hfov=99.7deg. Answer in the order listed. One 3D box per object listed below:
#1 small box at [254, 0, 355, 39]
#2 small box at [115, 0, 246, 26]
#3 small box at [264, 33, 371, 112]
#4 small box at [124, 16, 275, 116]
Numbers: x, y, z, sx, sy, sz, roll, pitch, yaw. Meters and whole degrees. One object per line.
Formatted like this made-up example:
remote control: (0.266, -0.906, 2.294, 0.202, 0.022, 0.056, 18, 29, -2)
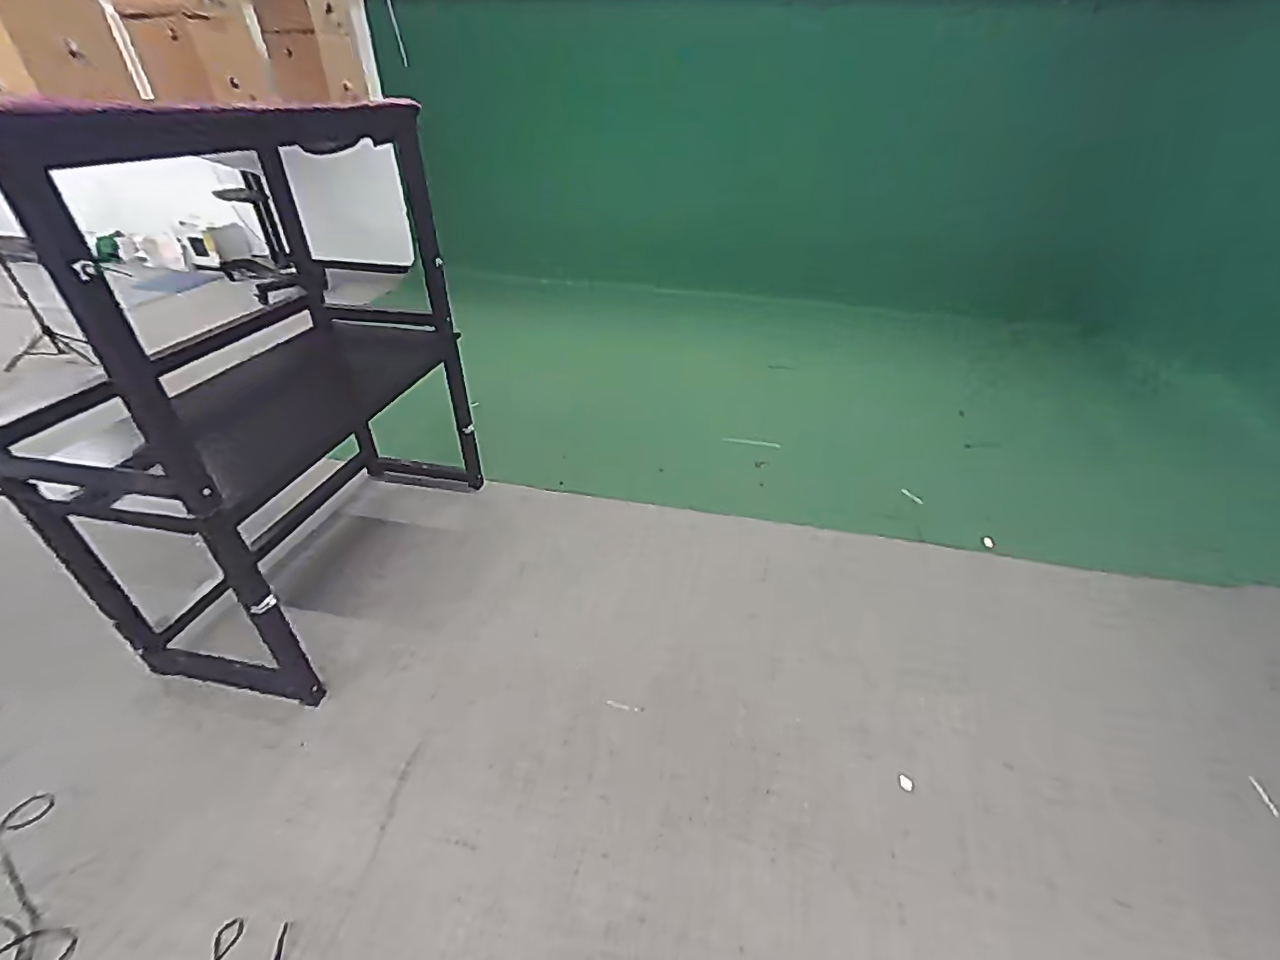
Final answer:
small box: (-0.907, -1.288, 1.441, 0.179, 0.176, 0.168, 10, 38, 12)
small box: (-0.988, -1.062, 1.132, 0.179, 0.176, 0.168, 7, 37, 7)
small box: (-0.908, -1.154, 1.537, 0.179, 0.176, 0.168, 11, 37, 12)
small box: (-0.991, -0.934, 1.232, 0.179, 0.176, 0.168, 9, 36, 12)
